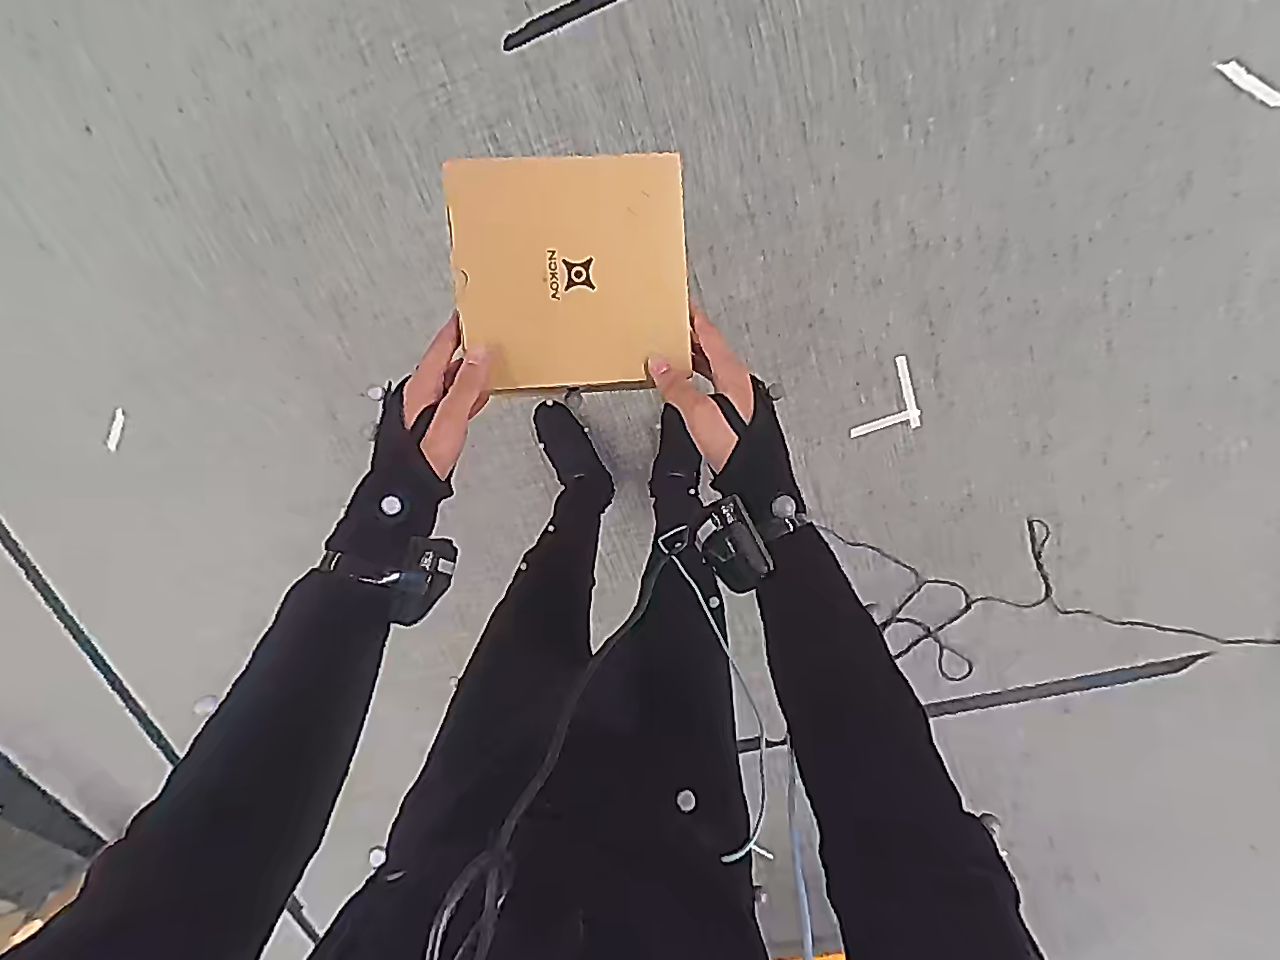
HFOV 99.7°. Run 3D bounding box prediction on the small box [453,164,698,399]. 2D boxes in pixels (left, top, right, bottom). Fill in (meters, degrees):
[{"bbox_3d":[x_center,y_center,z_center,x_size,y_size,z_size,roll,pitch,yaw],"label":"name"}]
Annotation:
[{"bbox_3d":[-0.051,-0.162,0.486,0.179,0.176,0.168,-4,99,-4],"label":"small box"}]
